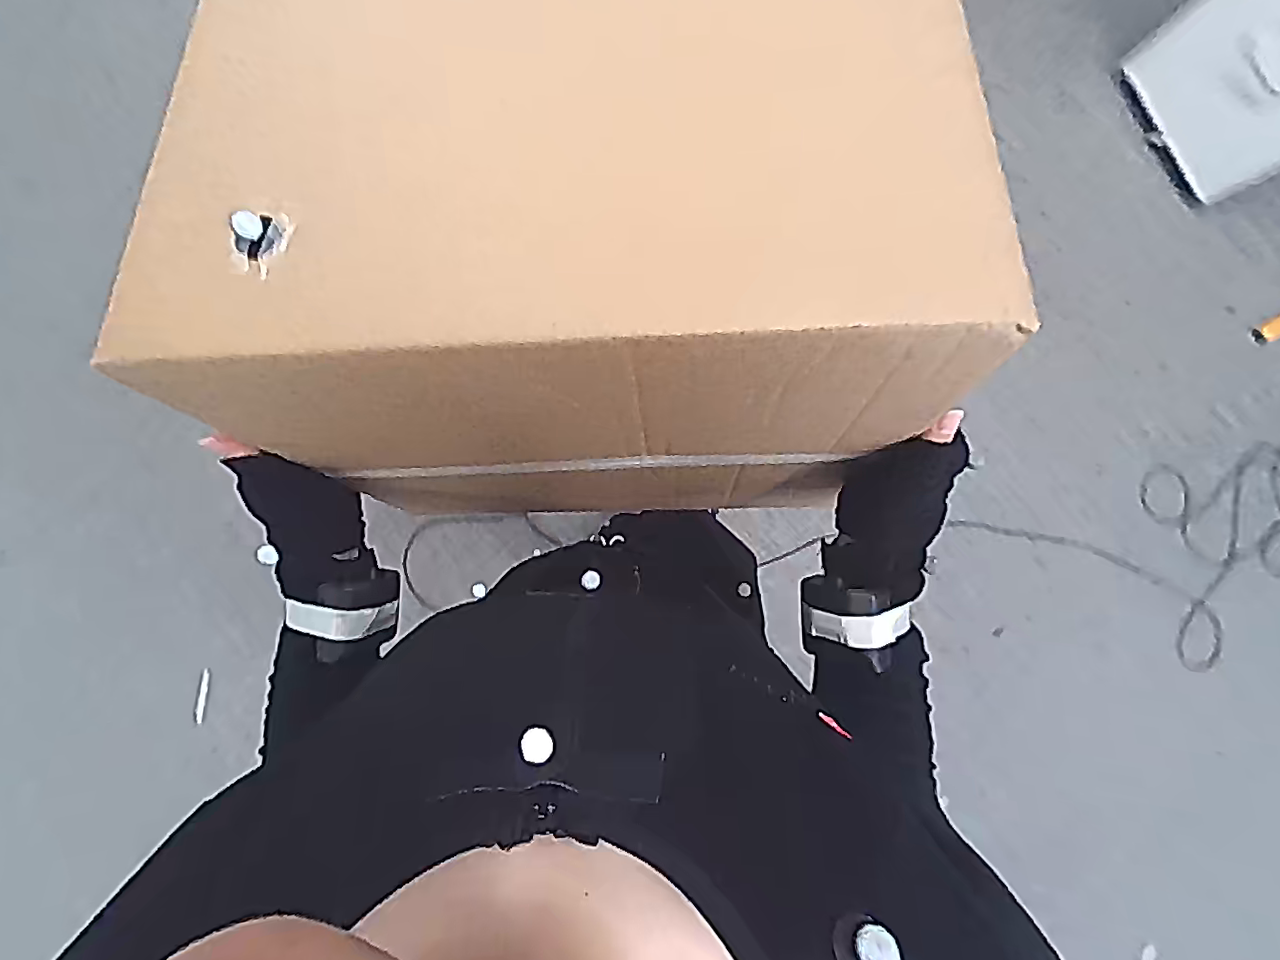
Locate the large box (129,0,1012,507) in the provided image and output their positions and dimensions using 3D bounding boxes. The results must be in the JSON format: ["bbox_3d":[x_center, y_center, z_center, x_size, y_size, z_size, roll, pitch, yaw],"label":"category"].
[{"bbox_3d":[-0.038,-0.171,0.420,0.408,0.320,0.320,-3,74,3],"label":"large box"}]
